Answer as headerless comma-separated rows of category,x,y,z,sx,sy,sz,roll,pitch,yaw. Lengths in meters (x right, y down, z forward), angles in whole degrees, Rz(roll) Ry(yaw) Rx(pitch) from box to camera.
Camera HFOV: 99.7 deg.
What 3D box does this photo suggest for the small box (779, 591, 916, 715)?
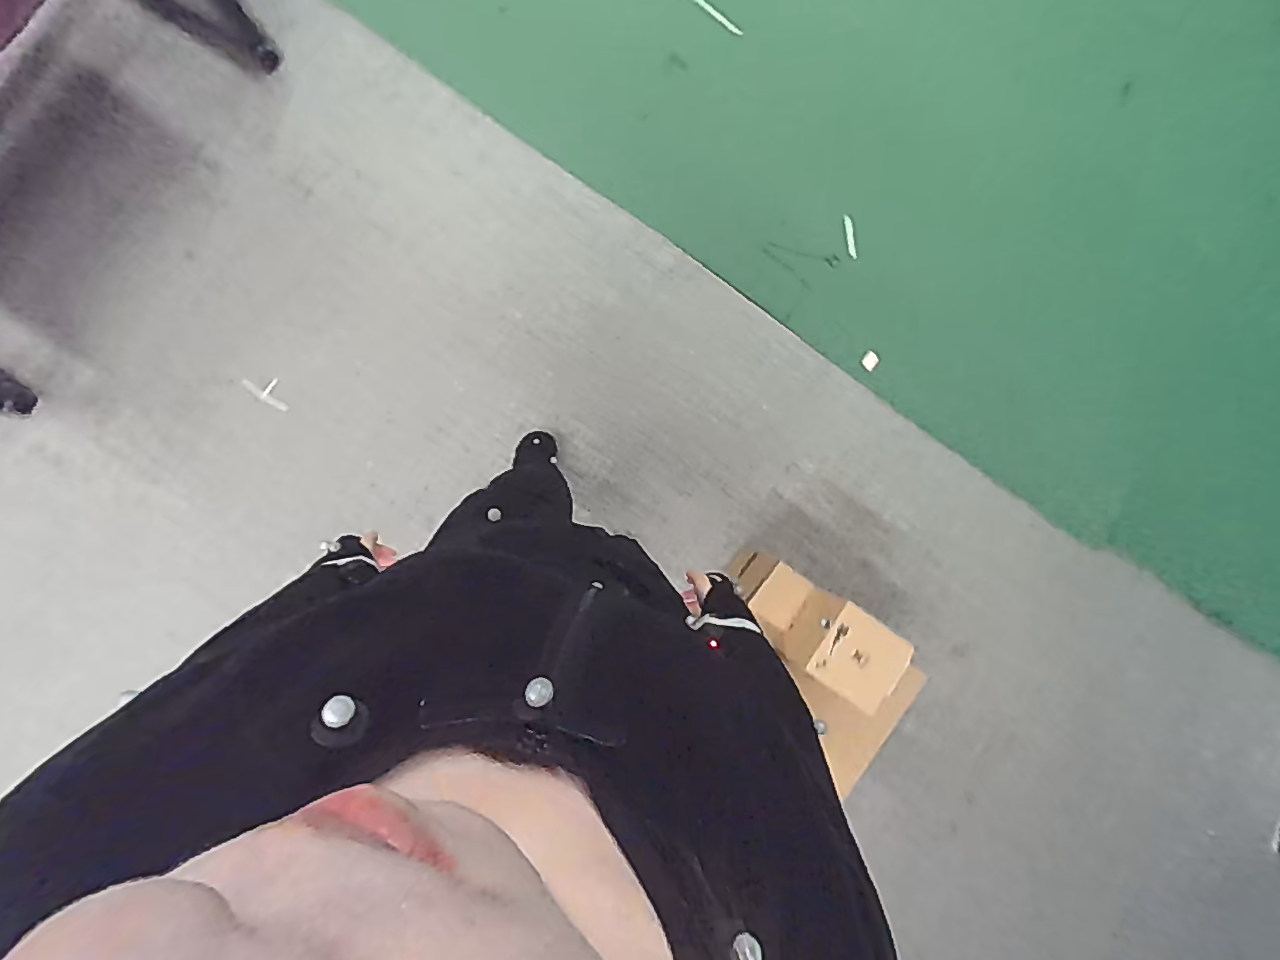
small box,0.433,0.357,1.156,0.179,0.176,0.168,37,85,-5
